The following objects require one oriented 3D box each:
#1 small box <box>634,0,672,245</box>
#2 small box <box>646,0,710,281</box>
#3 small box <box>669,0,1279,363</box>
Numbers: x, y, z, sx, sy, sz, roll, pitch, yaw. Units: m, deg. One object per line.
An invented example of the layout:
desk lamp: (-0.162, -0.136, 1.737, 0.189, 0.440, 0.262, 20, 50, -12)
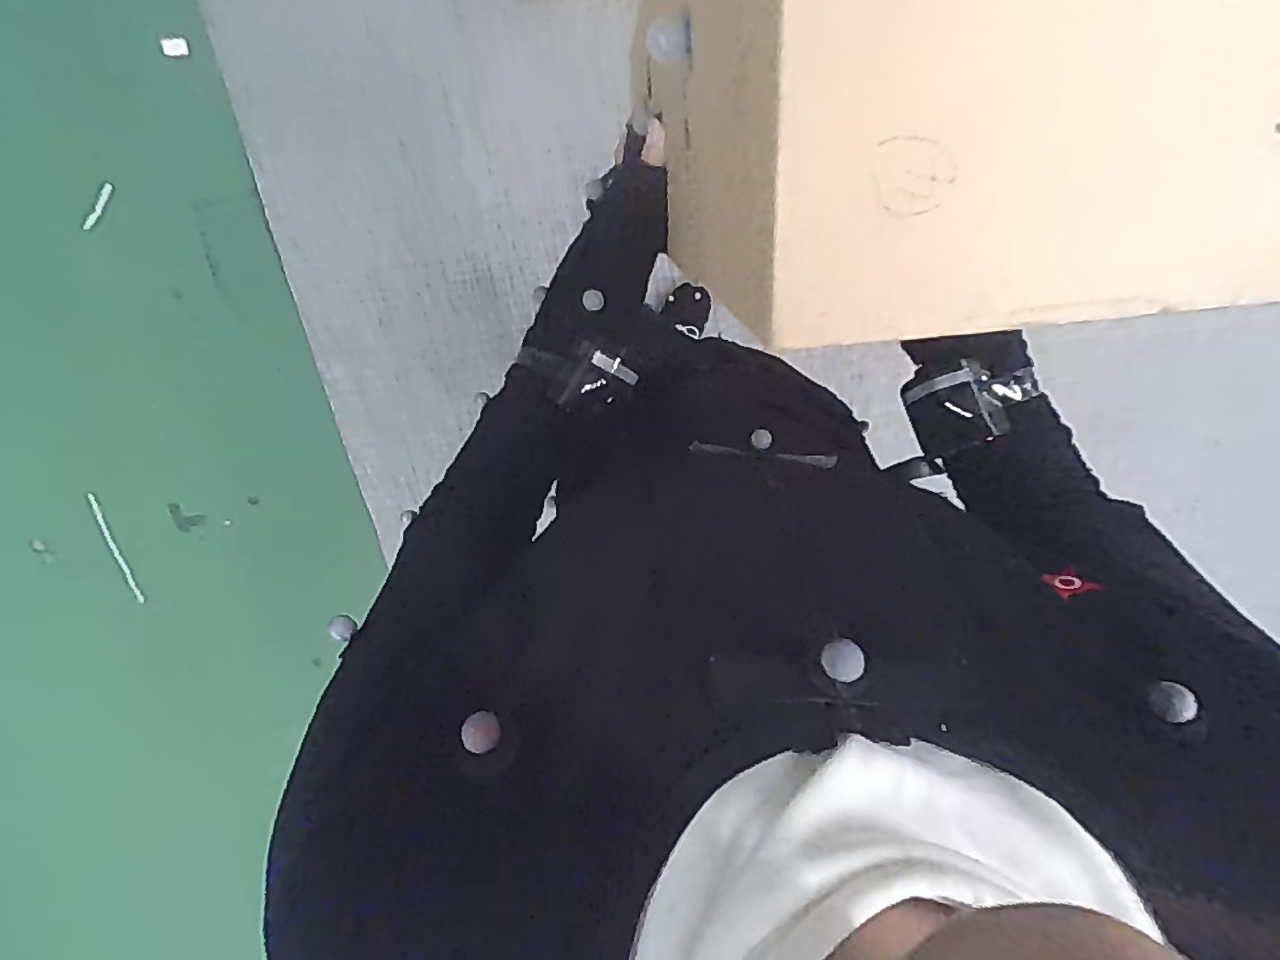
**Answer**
small box: (0.088, -0.304, 0.463, 0.179, 0.176, 0.168, -7, 120, -1)
small box: (0.095, -0.230, 0.318, 0.168, 0.176, 0.179, -7, 120, 0)
small box: (0.108, -0.152, 0.173, 0.179, 0.176, 0.168, -9, 119, 0)
